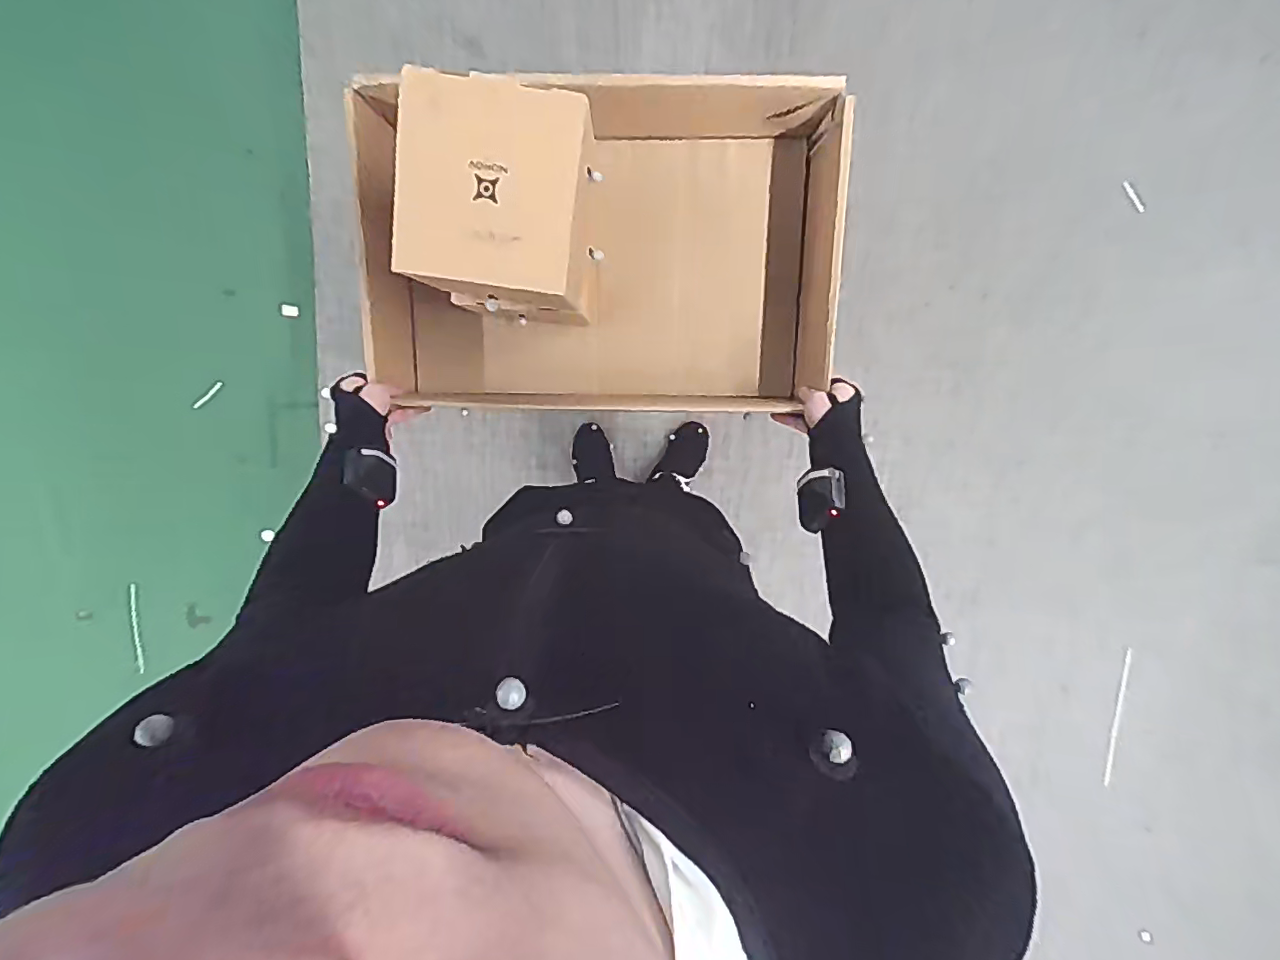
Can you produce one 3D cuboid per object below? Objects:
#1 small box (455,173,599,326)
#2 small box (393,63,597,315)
[{"bbox_3d":[-0.143,-0.310,0.729,0.168,0.176,0.179,4,102,-3],"label":"small box"},{"bbox_3d":[-0.138,-0.283,0.568,0.168,0.176,0.179,8,101,-3],"label":"small box"}]
